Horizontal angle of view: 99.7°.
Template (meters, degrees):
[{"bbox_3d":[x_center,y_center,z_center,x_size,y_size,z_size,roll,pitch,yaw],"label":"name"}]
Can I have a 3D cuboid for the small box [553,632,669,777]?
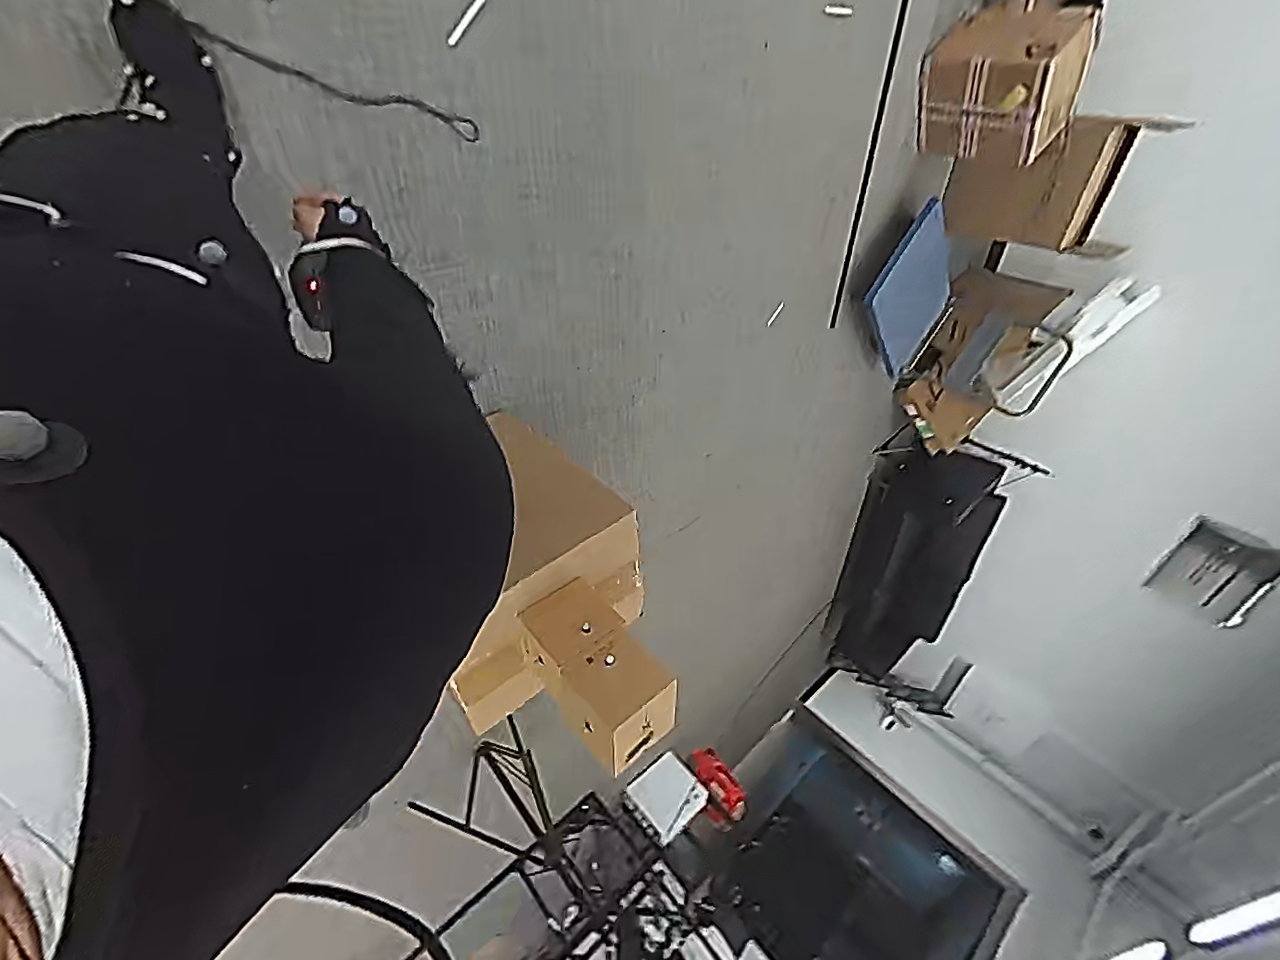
[{"bbox_3d":[-0.061,0.448,1.099,0.168,0.176,0.179,-28,135,-34],"label":"small box"}]

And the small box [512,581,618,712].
[{"bbox_3d":[-0.167,0.359,1.189,0.179,0.176,0.168,-28,136,-33],"label":"small box"}]
